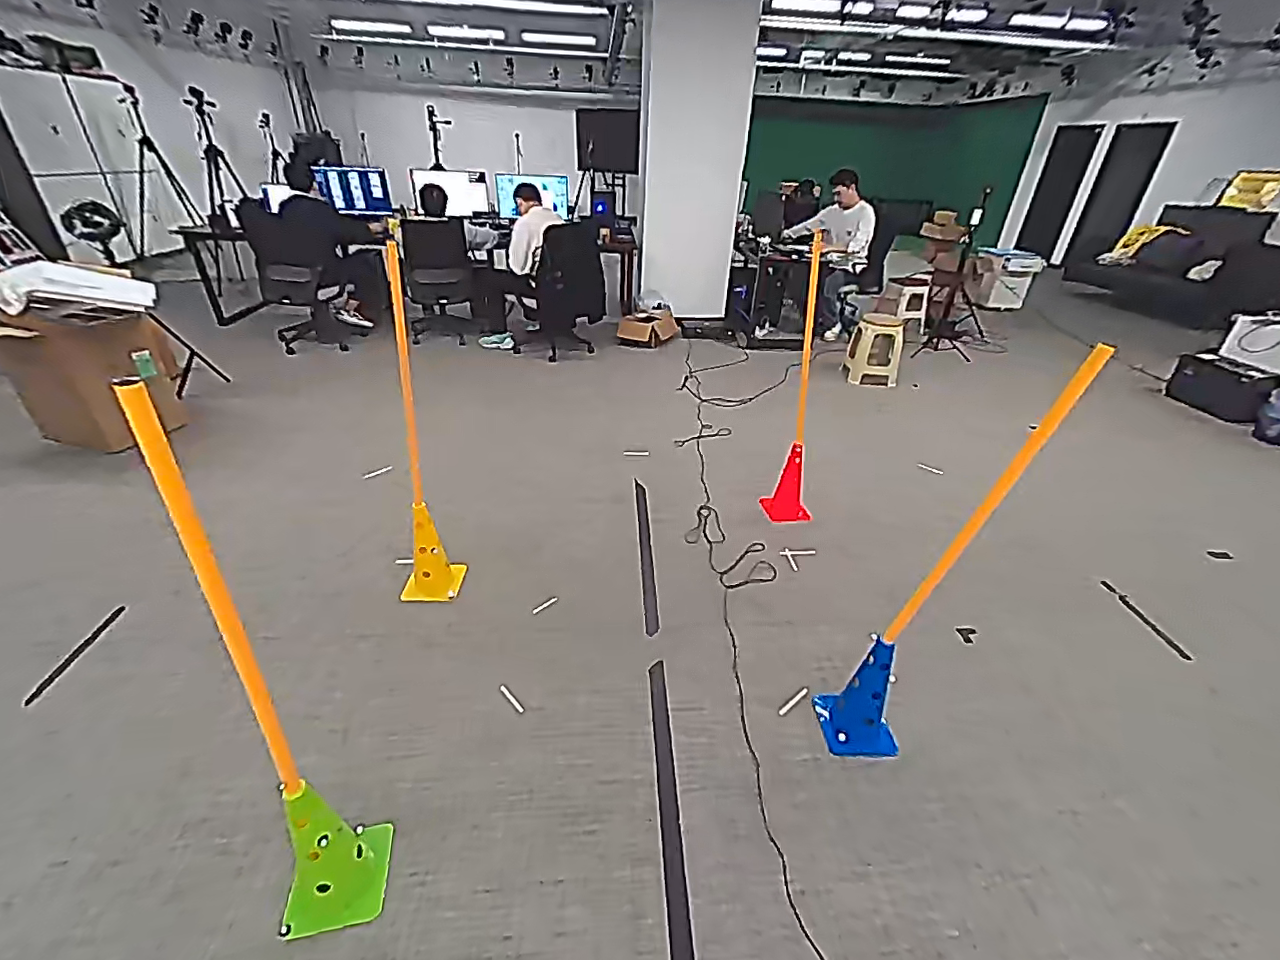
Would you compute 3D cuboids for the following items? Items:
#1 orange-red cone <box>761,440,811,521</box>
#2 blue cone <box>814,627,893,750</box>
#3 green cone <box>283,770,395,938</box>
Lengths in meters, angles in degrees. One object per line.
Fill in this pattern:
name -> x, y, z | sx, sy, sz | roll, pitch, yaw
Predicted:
orange-red cone -> 0.689, -0.014, 2.461 | 0.199, 0.360, 0.198 | -4, 31, -7
blue cone -> 0.636, 0.569, 1.517 | 0.193, 0.380, 0.192 | 1, 30, -2
green cone -> -0.661, 0.739, 1.129 | 0.200, 0.368, 0.202 | -6, 30, -13
